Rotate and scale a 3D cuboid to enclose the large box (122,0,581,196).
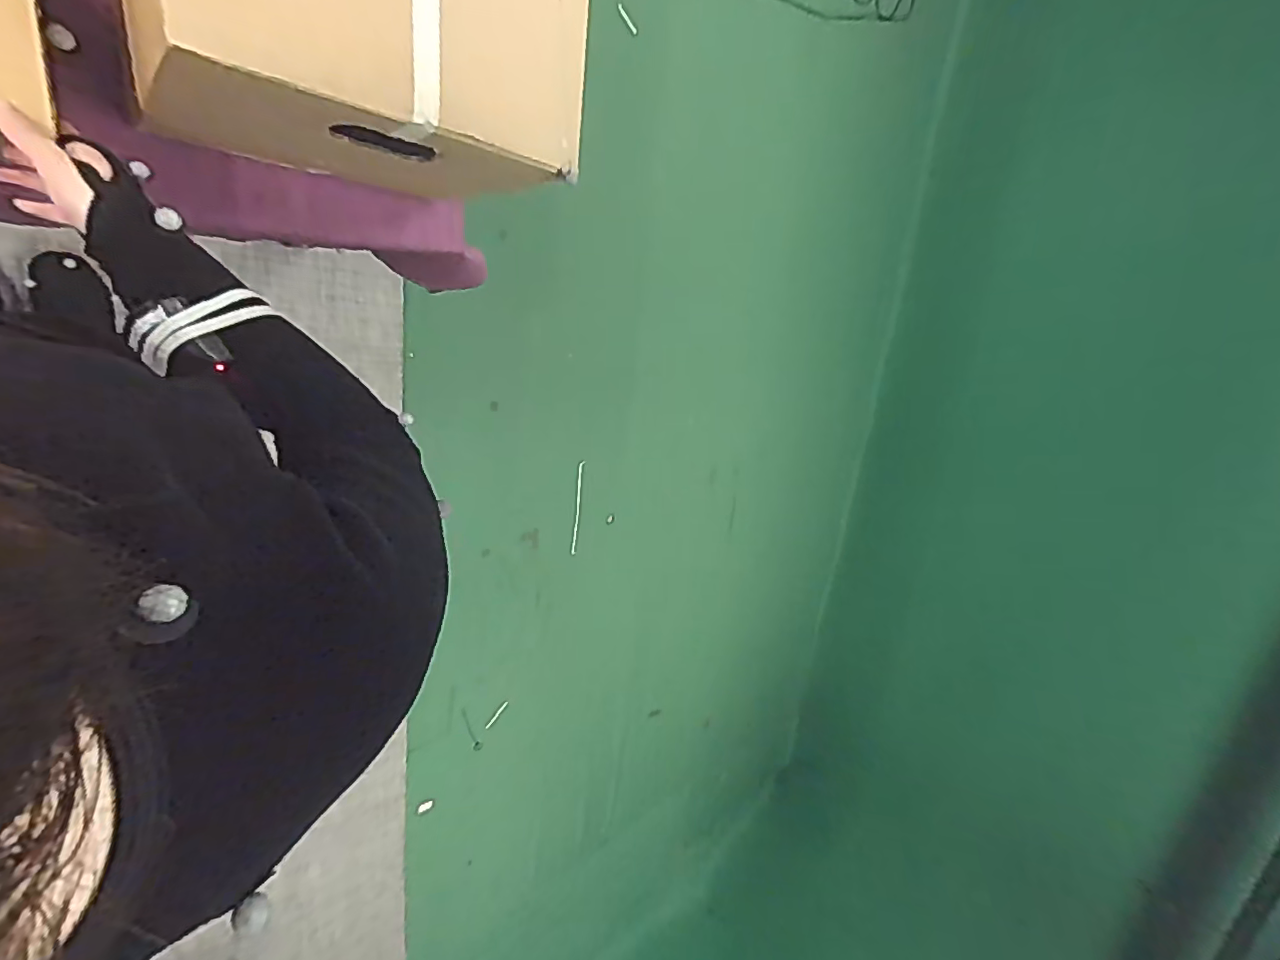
[{"bbox_3d":[-0.263,-0.518,0.487,0.320,0.320,0.408,-10,113,-44],"label":"large box"}]
